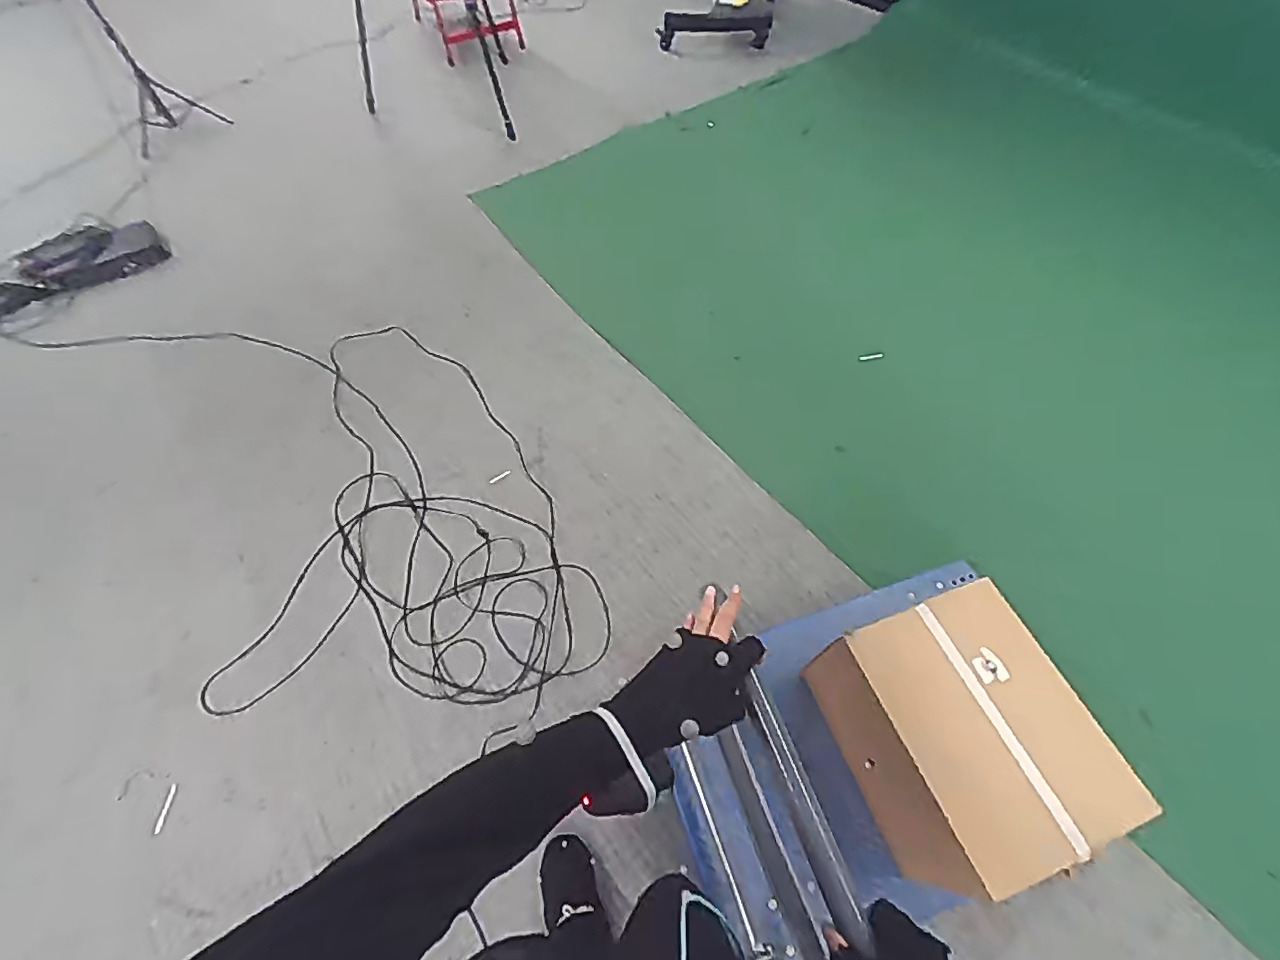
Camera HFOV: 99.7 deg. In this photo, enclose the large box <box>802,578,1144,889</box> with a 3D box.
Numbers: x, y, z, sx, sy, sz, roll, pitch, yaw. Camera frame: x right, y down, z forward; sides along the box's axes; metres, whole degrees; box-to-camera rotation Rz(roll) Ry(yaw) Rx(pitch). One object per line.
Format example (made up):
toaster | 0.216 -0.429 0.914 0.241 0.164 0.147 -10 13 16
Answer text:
large box | 0.568 0.464 1.025 0.320 0.320 0.408 -18 60 -10
